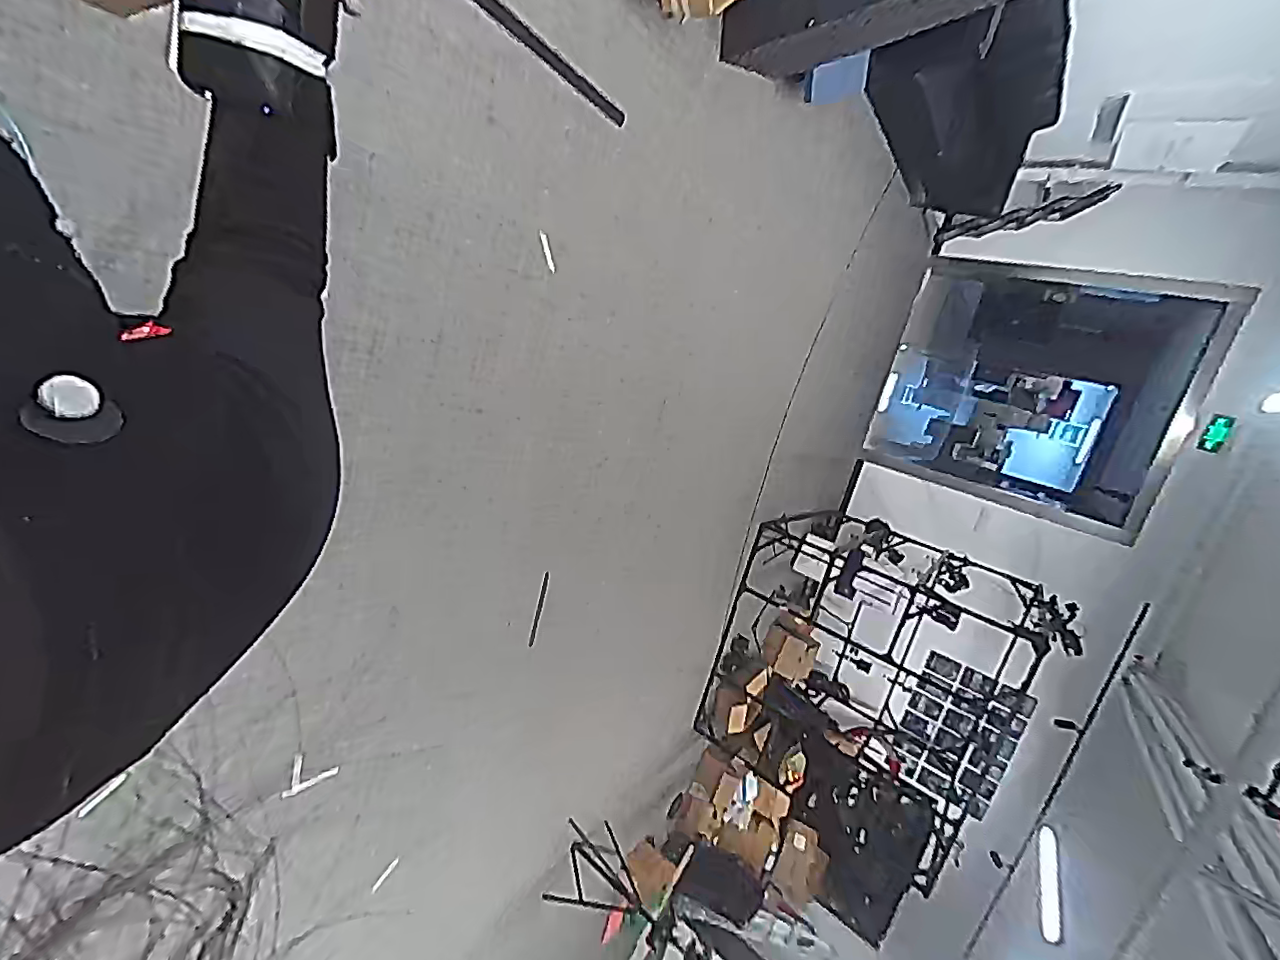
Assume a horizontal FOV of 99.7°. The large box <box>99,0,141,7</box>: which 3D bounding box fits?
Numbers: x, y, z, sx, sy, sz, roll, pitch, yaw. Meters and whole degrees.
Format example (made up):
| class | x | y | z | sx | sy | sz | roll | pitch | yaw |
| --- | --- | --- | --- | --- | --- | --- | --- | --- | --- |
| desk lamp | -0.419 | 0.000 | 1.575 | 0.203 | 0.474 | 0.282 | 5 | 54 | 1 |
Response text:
| class | x | y | z | sx | sy | sz | roll | pitch | yaw |
| --- | --- | --- | --- | --- | --- | --- | --- | --- | --- |
| large box | -0.429 | -0.505 | 0.219 | 0.408 | 0.320 | 0.320 | -1 | 115 | -55 |
